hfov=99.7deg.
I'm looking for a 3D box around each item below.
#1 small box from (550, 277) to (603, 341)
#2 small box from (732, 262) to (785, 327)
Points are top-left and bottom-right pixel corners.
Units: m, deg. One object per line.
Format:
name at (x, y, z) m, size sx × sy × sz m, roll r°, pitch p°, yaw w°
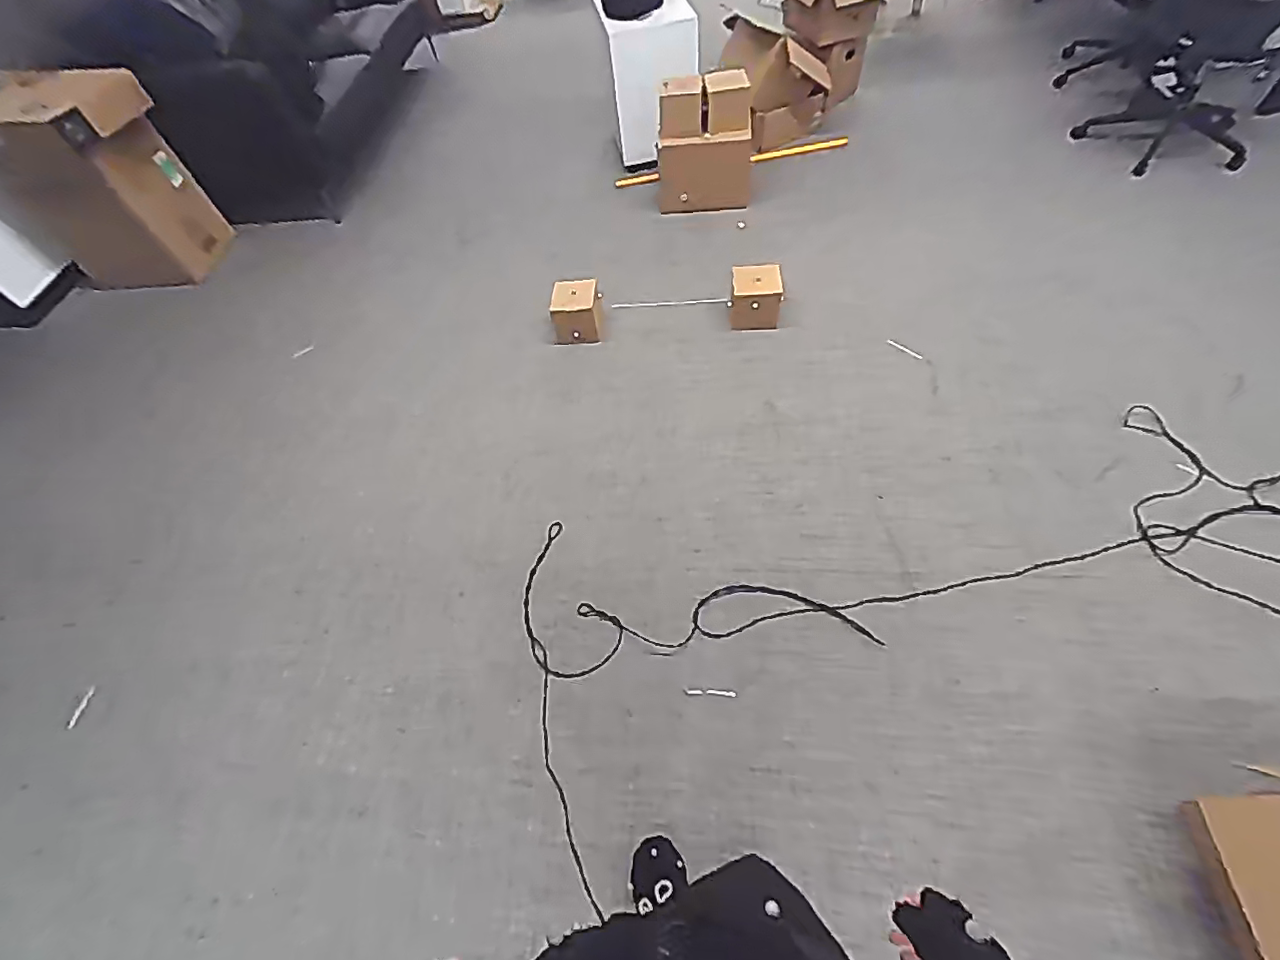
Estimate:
small box at (-0.240, -0.663, 2.104) m, size 0.168 × 0.176 × 0.179 m, roll -2°, pitch 57°, yaw 6°
small box at (0.441, -0.696, 2.037) m, size 0.179 × 0.176 × 0.168 m, roll -2°, pitch 57°, yaw 7°
